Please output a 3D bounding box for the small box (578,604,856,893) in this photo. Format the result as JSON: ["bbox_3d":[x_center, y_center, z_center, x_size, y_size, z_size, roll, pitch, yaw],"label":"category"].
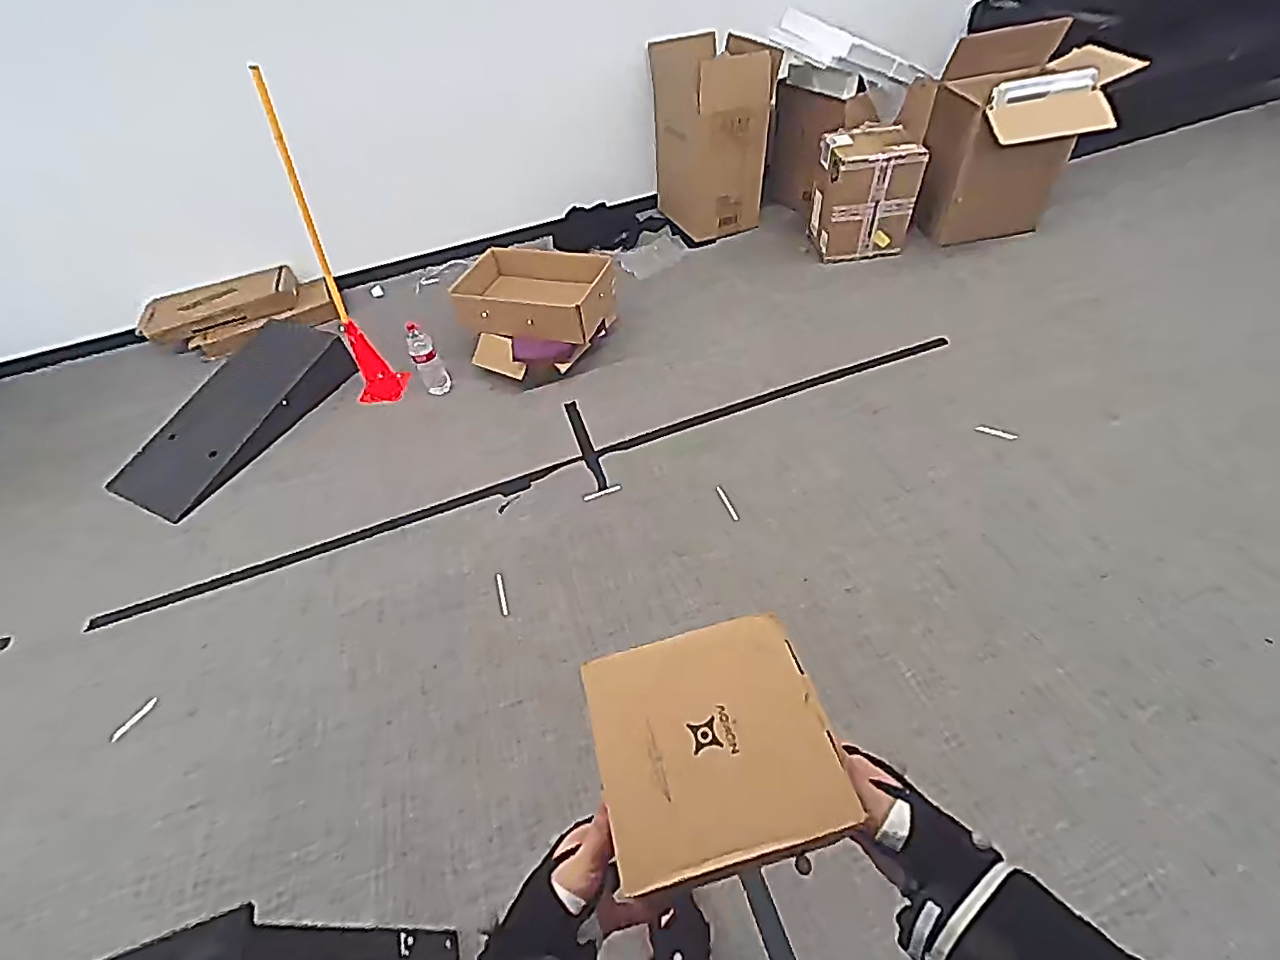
[{"bbox_3d":[0.058,0.240,0.478,0.179,0.176,0.168,-16,50,-4],"label":"small box"}]
